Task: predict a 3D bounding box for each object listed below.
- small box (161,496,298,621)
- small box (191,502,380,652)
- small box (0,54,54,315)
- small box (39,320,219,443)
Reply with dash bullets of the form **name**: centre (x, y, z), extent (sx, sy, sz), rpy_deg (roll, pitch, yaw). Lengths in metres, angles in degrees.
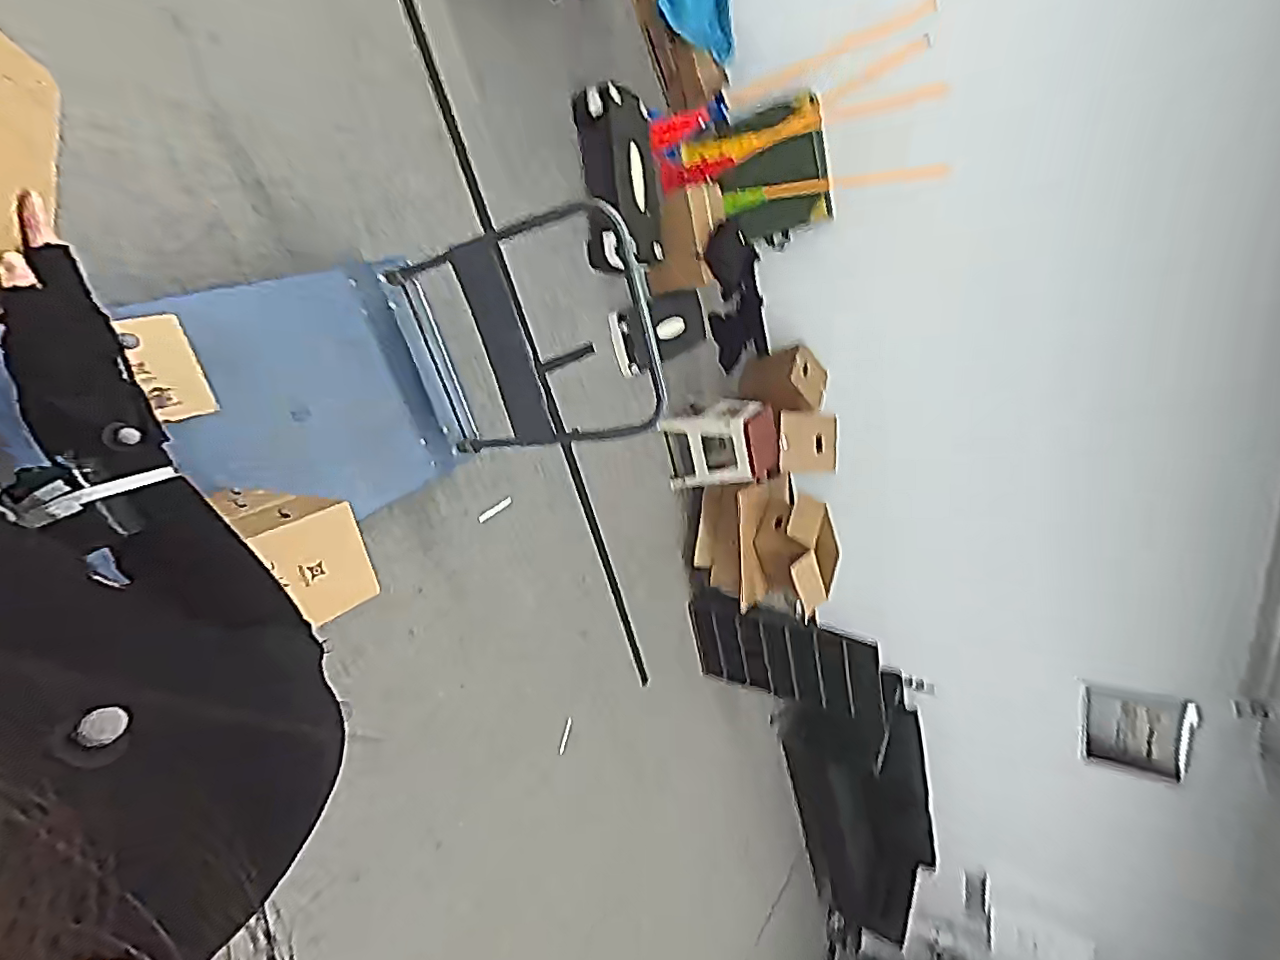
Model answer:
- **small box**: centre (-0.693, 0.137, 0.952), extent (0.168, 0.176, 0.179), rpy_deg (-33, 118, -49)
- **small box**: centre (-0.557, 0.139, 0.858), extent (0.179, 0.176, 0.168), rpy_deg (-31, 116, -49)
- **small box**: centre (-0.490, -0.202, 0.294), extent (0.179, 0.168, 0.176), rpy_deg (158, -68, -83)
- **small box**: centre (-0.890, -0.170, 0.946), extent (0.168, 0.176, 0.179), rpy_deg (-34, 117, -48)
